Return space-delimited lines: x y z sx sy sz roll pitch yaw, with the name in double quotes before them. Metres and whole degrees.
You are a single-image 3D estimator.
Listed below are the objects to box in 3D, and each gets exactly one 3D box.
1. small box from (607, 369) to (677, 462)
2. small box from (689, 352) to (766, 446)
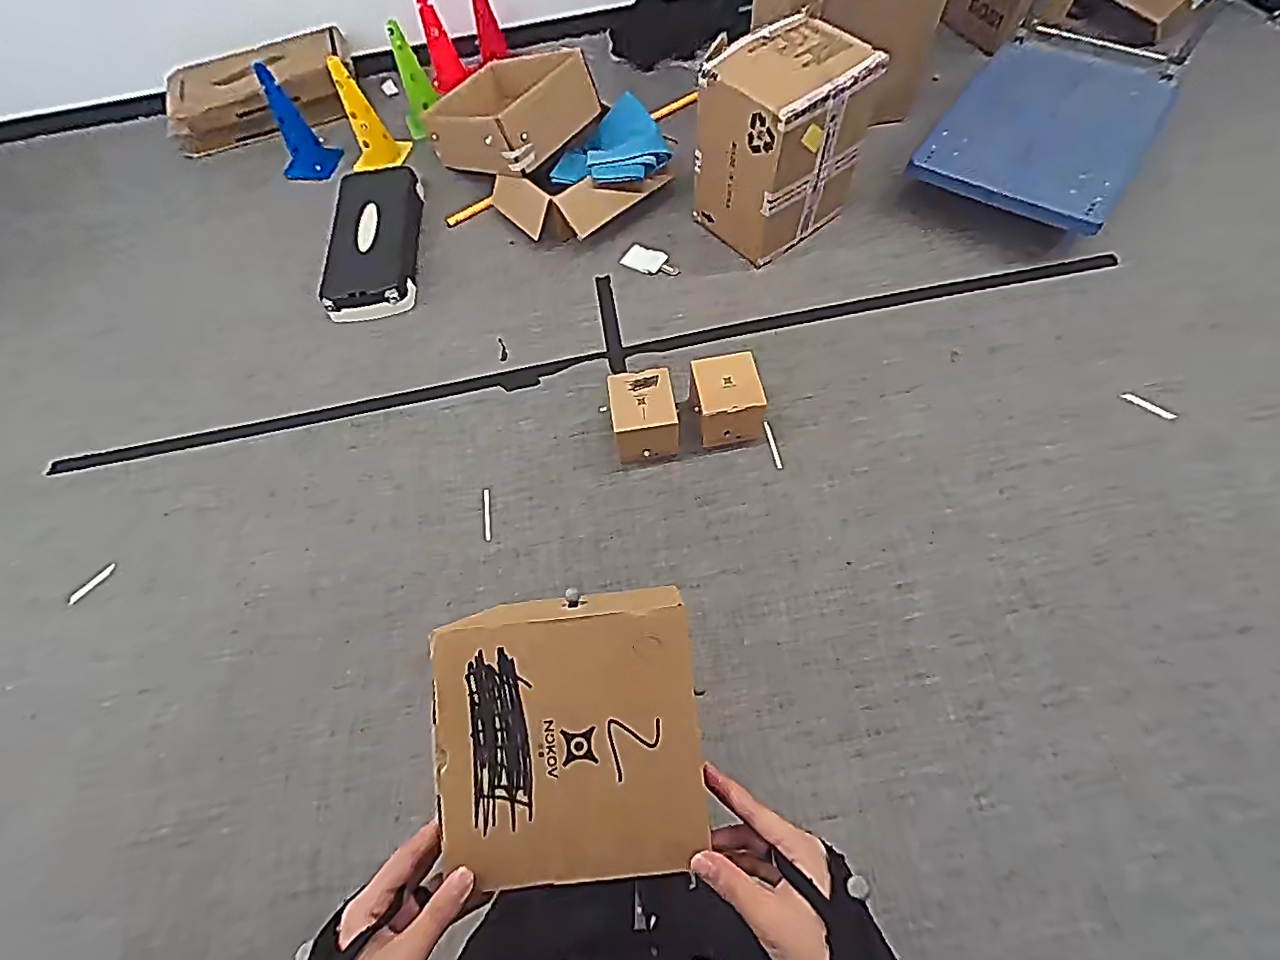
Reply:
"small box" 0.006 -0.170 1.458 0.168 0.176 0.179 -9 64 0
"small box" 0.228 -0.216 1.468 0.168 0.176 0.179 -10 64 -1
